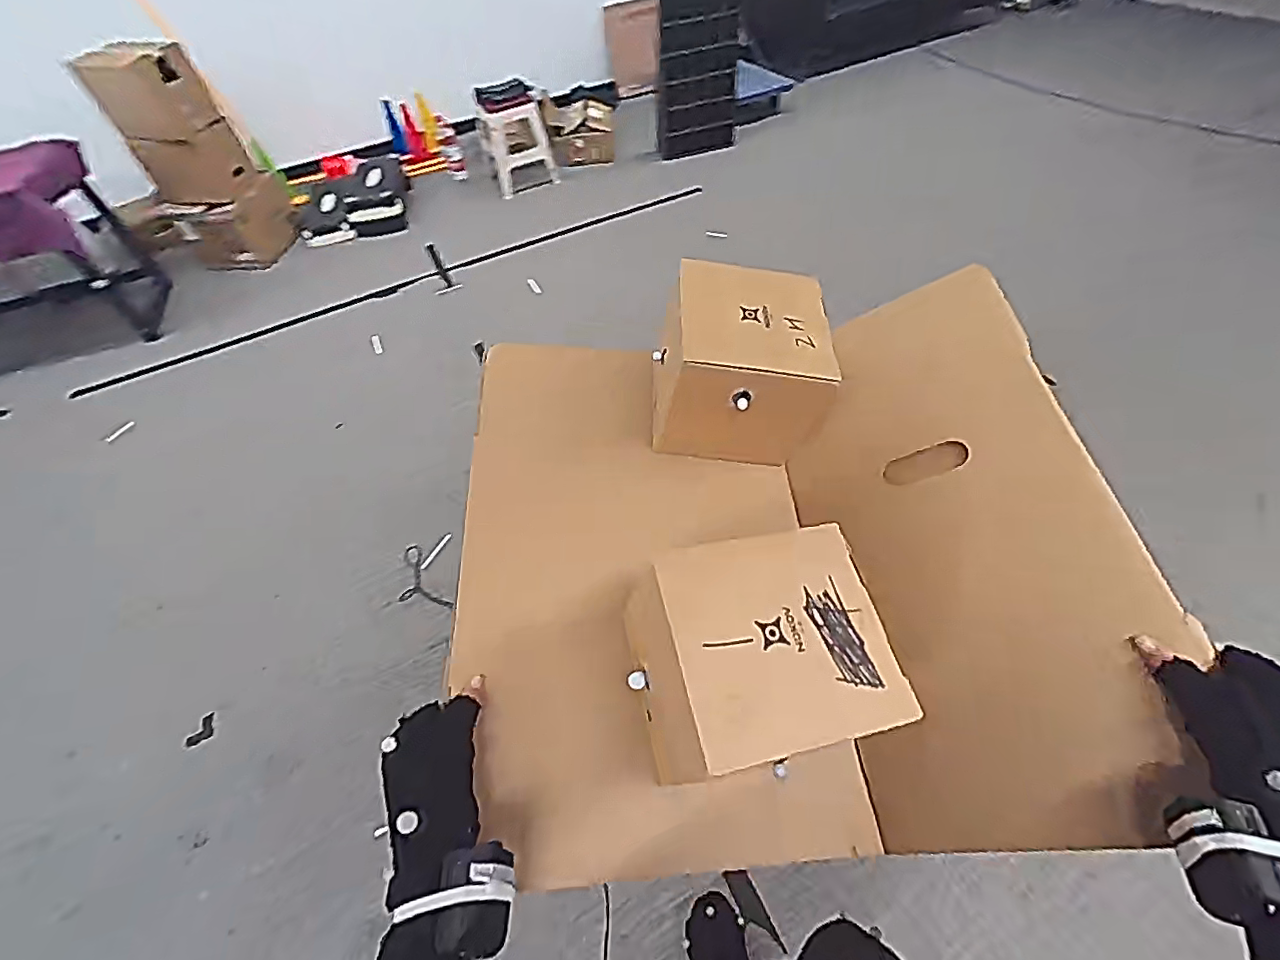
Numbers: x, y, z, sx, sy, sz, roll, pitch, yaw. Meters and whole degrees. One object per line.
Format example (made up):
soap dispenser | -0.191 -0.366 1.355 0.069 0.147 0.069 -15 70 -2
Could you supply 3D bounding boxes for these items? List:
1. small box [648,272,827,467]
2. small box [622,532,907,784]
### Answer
small box | 0.107 -0.130 0.680 0.179 0.176 0.168 6 58 -8
small box | 0.093 0.166 0.495 0.179 0.176 0.168 -8 61 -14
